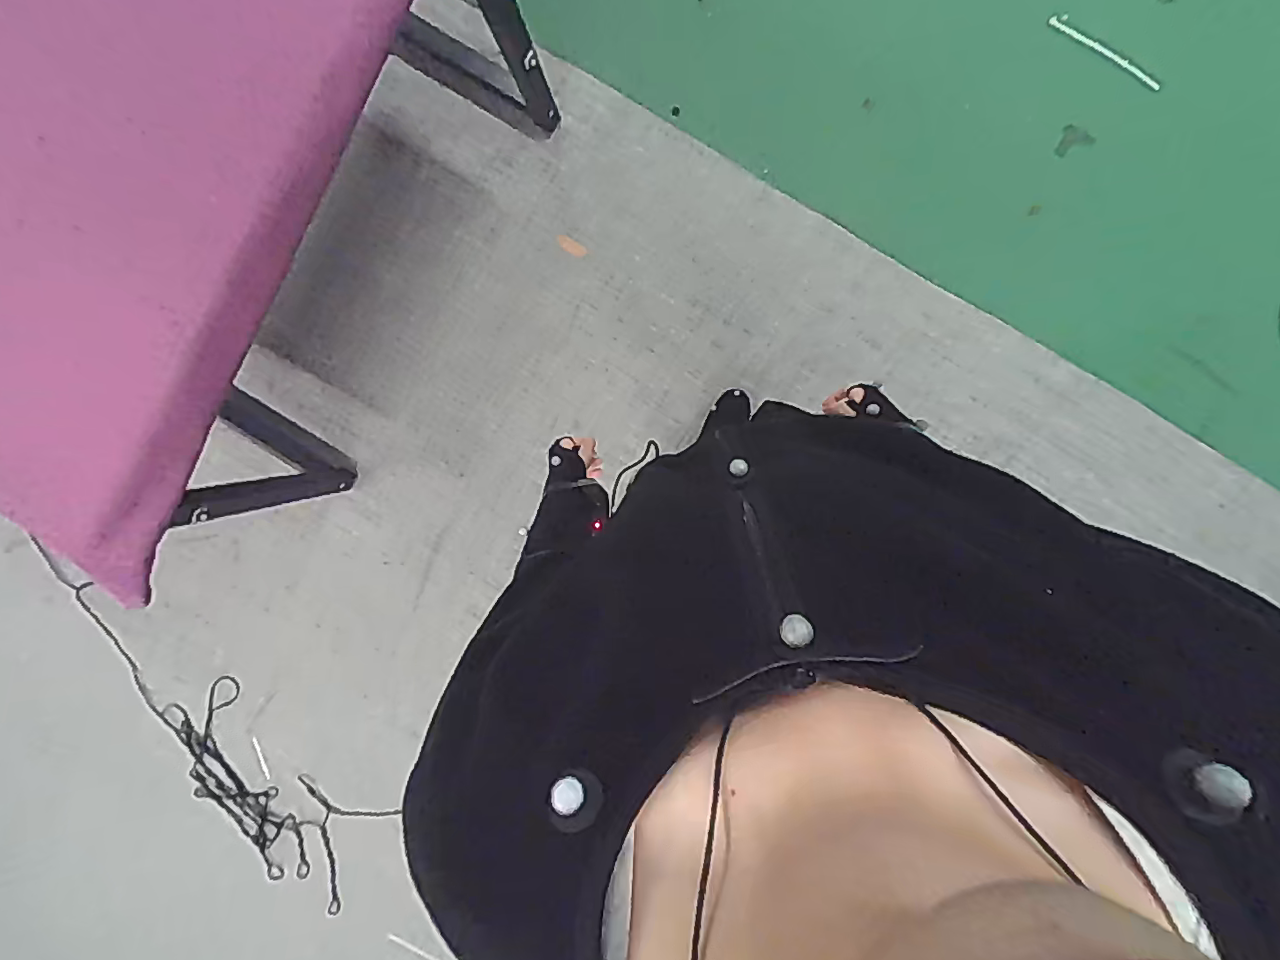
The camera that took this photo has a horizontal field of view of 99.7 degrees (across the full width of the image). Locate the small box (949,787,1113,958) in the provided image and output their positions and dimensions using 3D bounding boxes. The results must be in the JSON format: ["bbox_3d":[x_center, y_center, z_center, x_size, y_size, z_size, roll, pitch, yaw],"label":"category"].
[{"bbox_3d":[0.753,0.765,1.072,0.168,0.176,0.179,42,97,2],"label":"small box"}]

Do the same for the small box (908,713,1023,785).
[{"bbox_3d":[0.824,0.737,1.392,0.168,0.176,0.179,22,97,3],"label":"small box"}]

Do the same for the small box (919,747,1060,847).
[{"bbox_3d":[0.783,0.749,1.232,0.179,0.176,0.168,27,96,3],"label":"small box"}]
